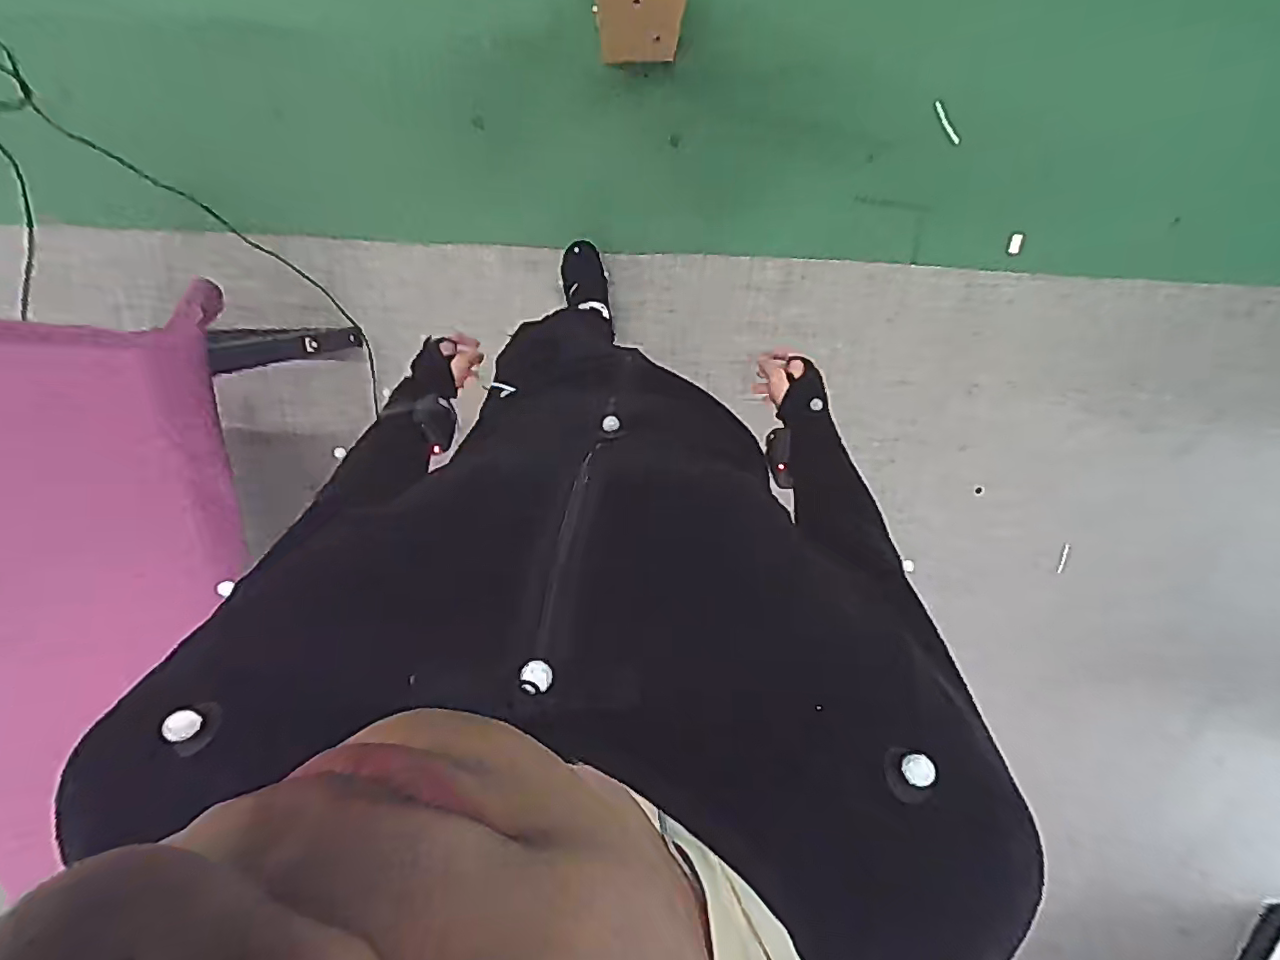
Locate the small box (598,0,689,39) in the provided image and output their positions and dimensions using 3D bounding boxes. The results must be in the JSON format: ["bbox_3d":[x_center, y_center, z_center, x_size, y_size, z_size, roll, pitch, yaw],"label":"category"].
[{"bbox_3d":[0.005,-1.011,1.072,0.179,0.176,0.168,0,108,-1],"label":"small box"}]

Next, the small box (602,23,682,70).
[{"bbox_3d":[0.000,-1.061,1.226,0.179,0.176,0.168,-2,108,-1],"label":"small box"}]
